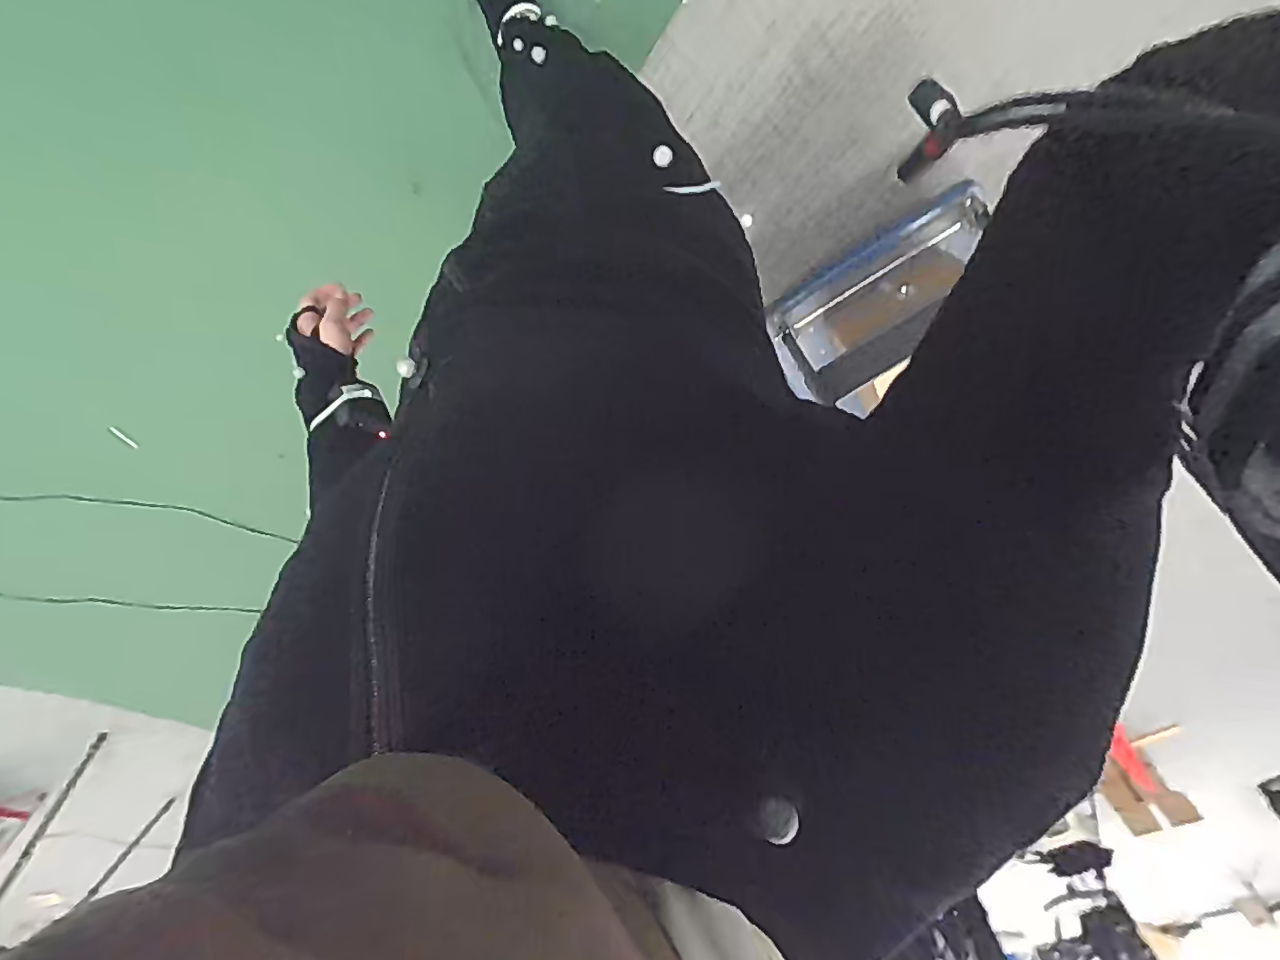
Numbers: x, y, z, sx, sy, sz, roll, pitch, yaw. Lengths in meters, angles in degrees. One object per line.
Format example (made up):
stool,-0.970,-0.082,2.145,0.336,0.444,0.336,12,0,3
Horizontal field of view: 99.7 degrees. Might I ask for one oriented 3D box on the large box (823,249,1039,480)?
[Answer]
large box,0.717,-0.283,1.354,0.320,0.320,0.408,-29,127,18
